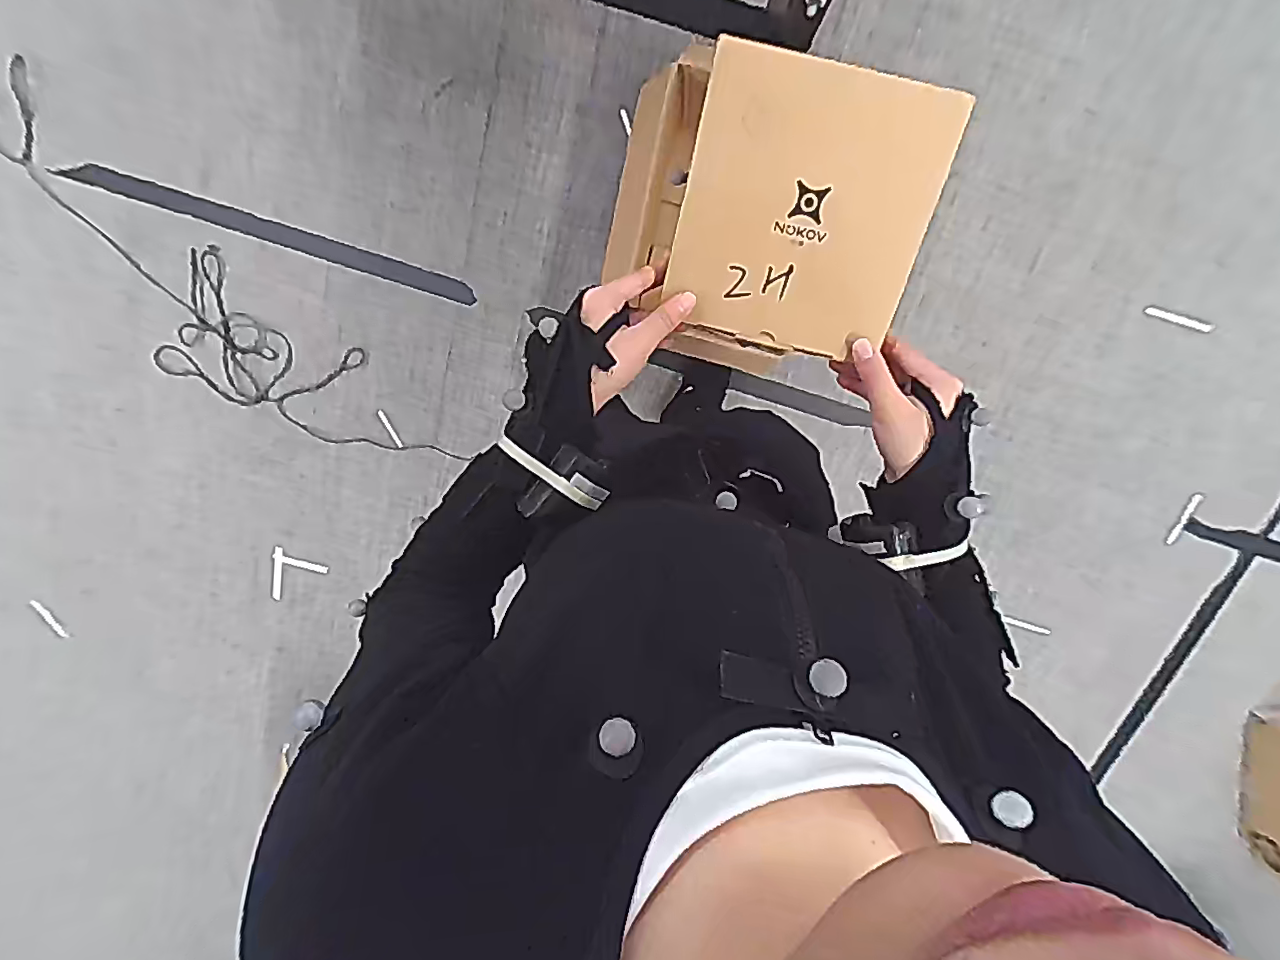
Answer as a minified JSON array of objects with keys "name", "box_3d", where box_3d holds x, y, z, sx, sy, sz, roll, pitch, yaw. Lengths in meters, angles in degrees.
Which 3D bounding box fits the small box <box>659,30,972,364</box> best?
[{"name":"small box","box_3d":[0.116,-0.210,0.437,0.168,0.176,0.179,13,113,1]}]
